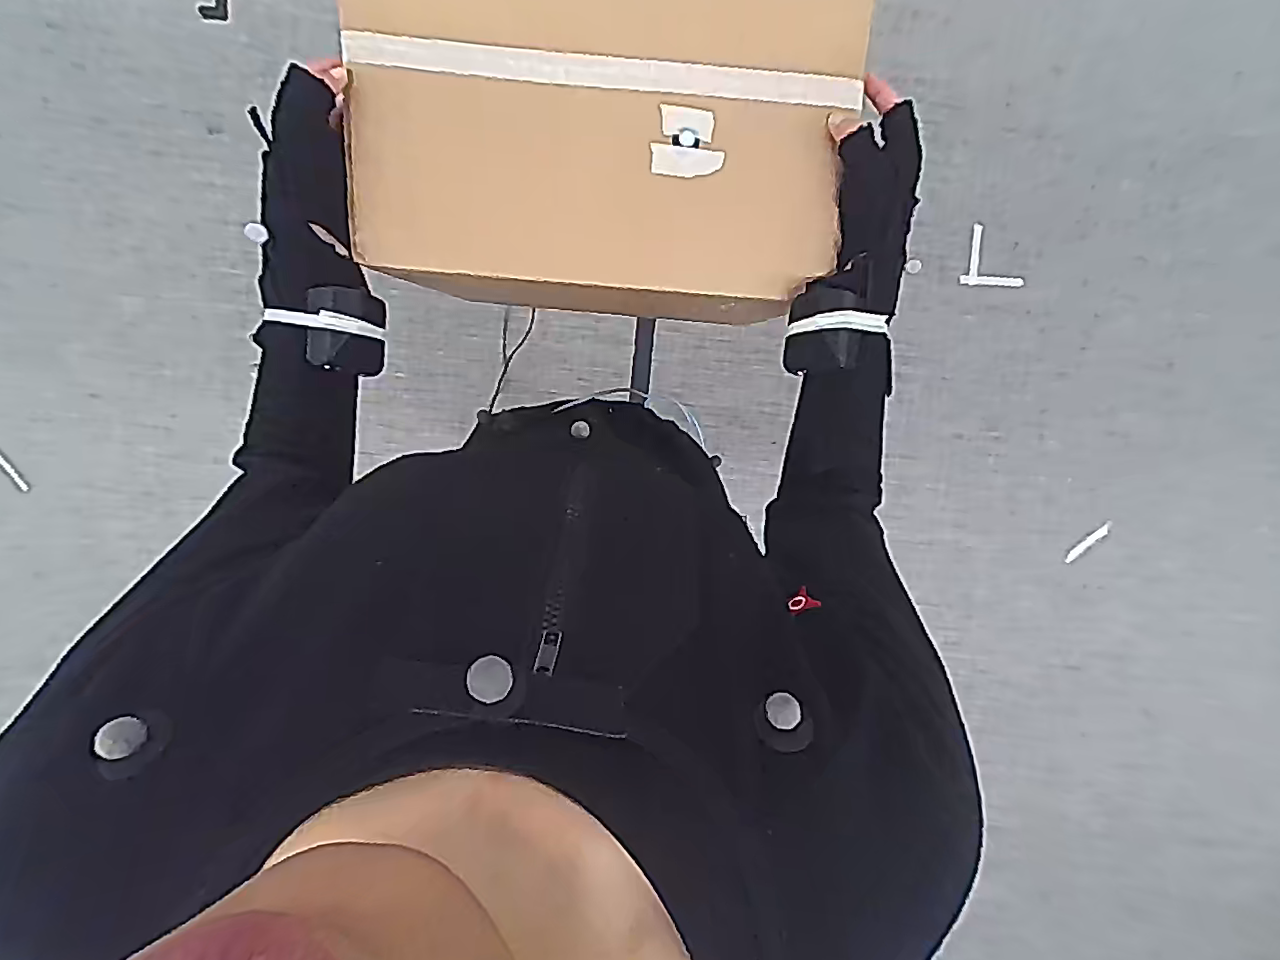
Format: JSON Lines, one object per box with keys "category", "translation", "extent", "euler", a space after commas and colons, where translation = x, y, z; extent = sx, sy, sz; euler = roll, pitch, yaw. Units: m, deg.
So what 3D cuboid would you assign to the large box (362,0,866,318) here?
{"category": "large box", "translation": [-0.028, -0.356, 0.583], "extent": [0.408, 0.320, 0.320], "euler": [4, 104, -3]}
